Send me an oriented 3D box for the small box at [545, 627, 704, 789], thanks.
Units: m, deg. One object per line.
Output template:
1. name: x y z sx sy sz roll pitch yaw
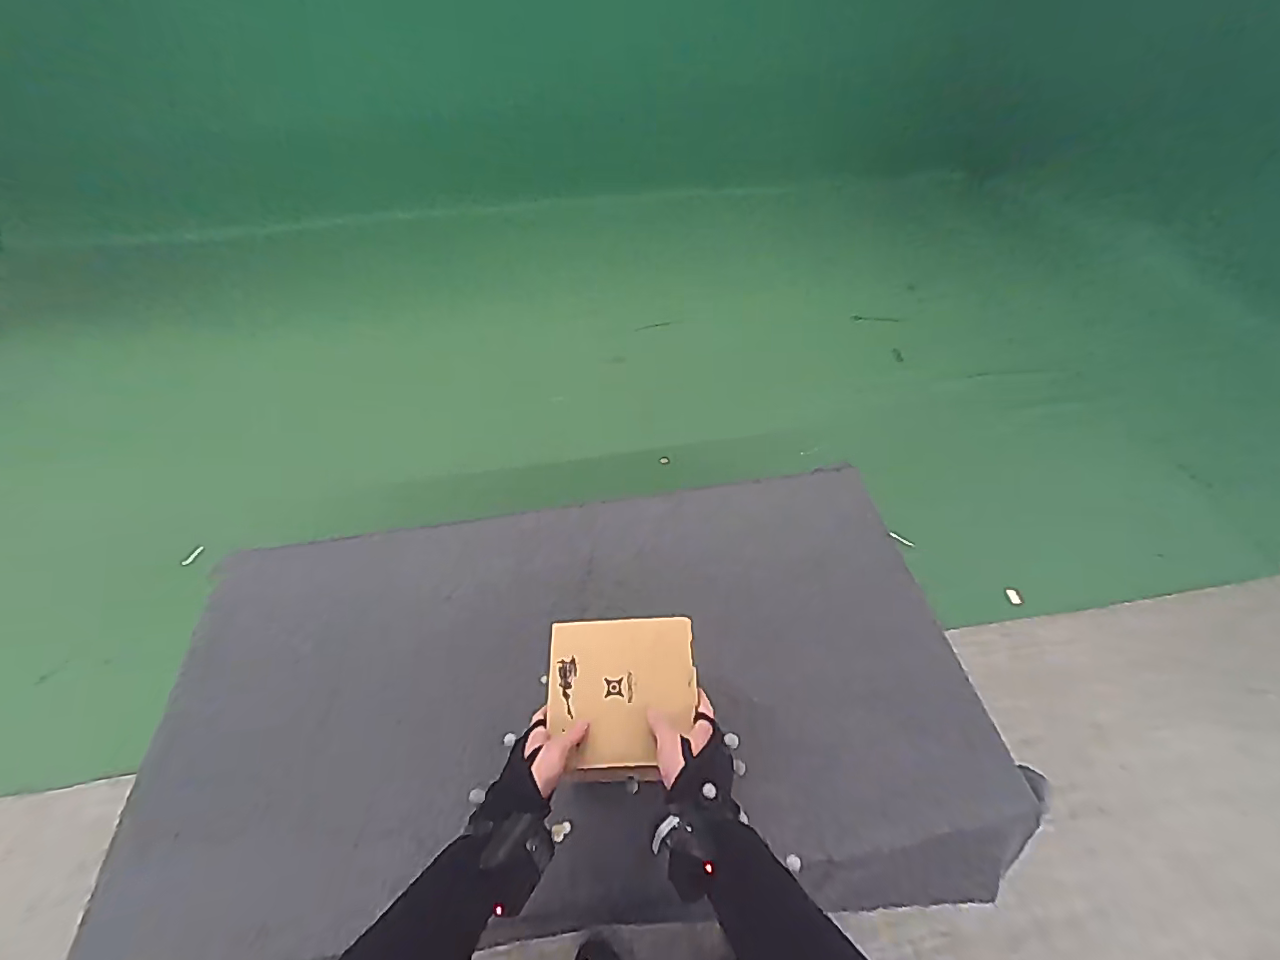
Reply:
1. small box: -0.016 0.297 0.698 0.179 0.176 0.168 -3 56 2
